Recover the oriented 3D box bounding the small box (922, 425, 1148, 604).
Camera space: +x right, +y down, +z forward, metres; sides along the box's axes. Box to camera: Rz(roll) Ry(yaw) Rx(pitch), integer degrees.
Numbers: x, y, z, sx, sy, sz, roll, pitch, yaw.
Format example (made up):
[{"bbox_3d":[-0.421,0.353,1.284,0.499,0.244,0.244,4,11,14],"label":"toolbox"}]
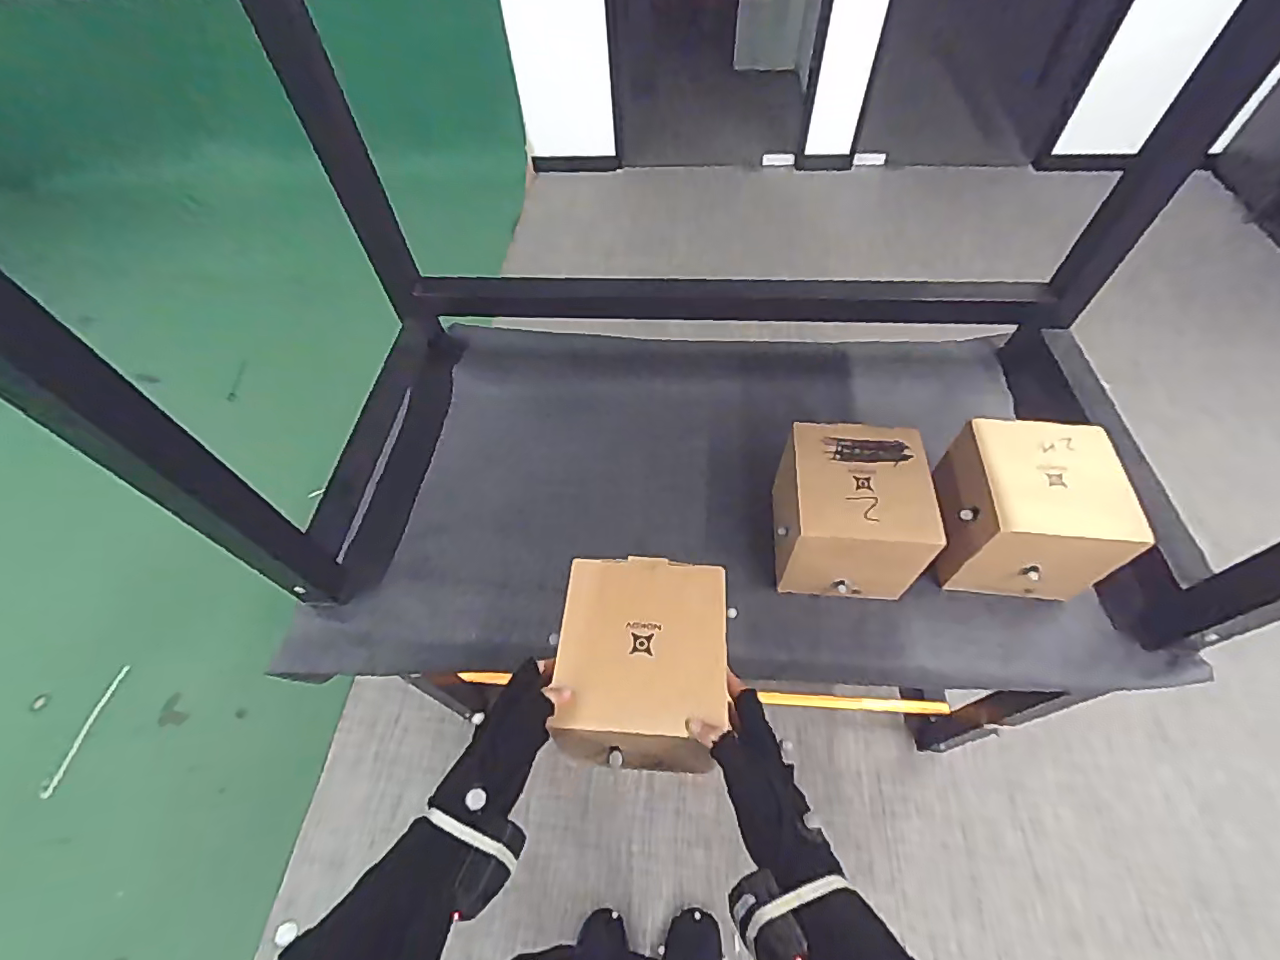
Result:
[{"bbox_3d":[0.504,0.051,0.725,0.168,0.176,0.179,5,54,6],"label":"small box"}]
